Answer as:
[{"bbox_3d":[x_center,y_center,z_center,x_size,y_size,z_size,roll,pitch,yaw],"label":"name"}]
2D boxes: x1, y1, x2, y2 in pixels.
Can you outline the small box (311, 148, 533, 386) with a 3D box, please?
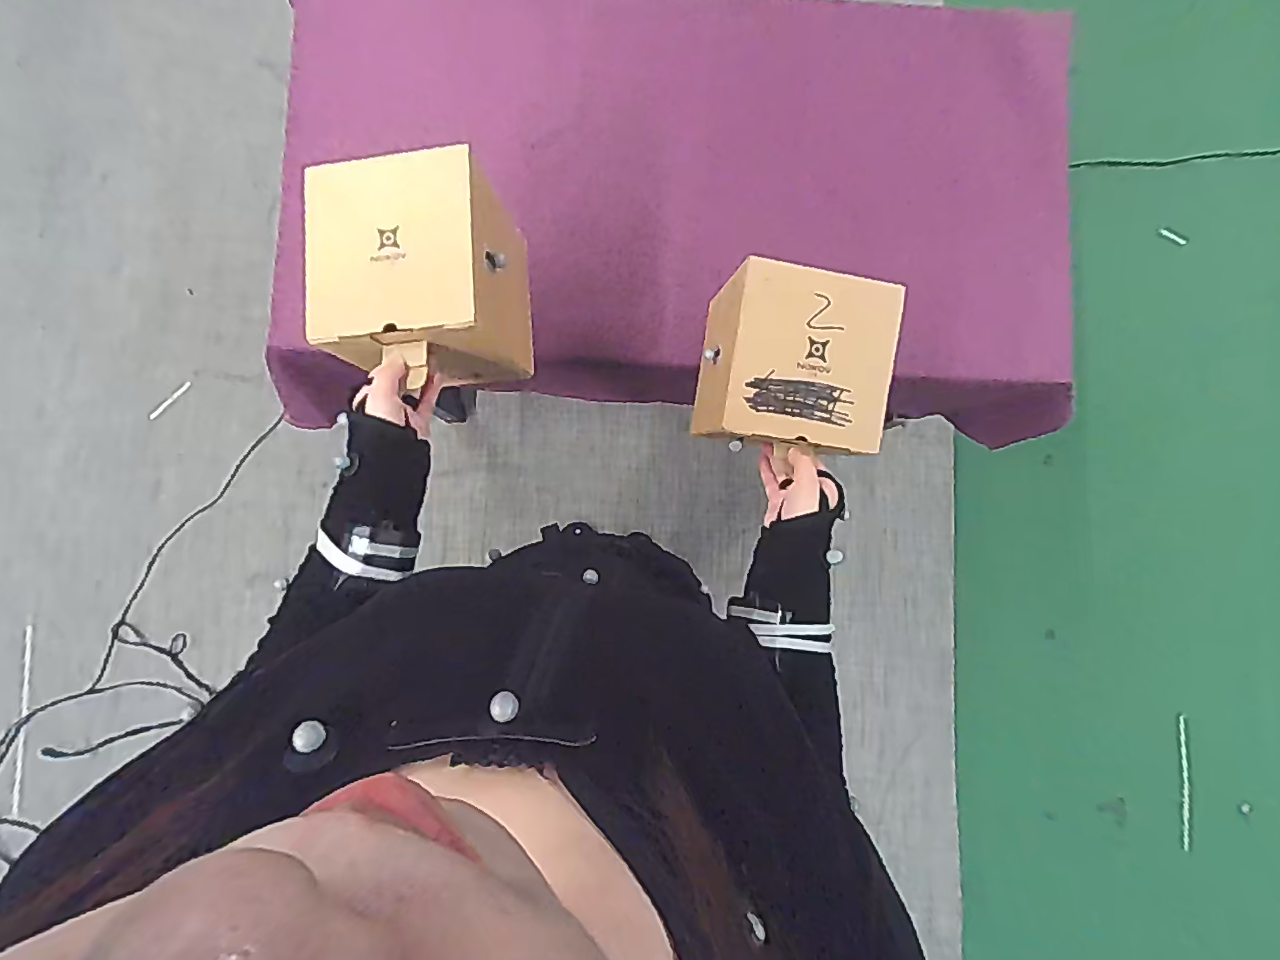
[{"bbox_3d":[-0.218,-0.212,0.579,0.168,0.176,0.179,-4,85,5],"label":"small box"}]
